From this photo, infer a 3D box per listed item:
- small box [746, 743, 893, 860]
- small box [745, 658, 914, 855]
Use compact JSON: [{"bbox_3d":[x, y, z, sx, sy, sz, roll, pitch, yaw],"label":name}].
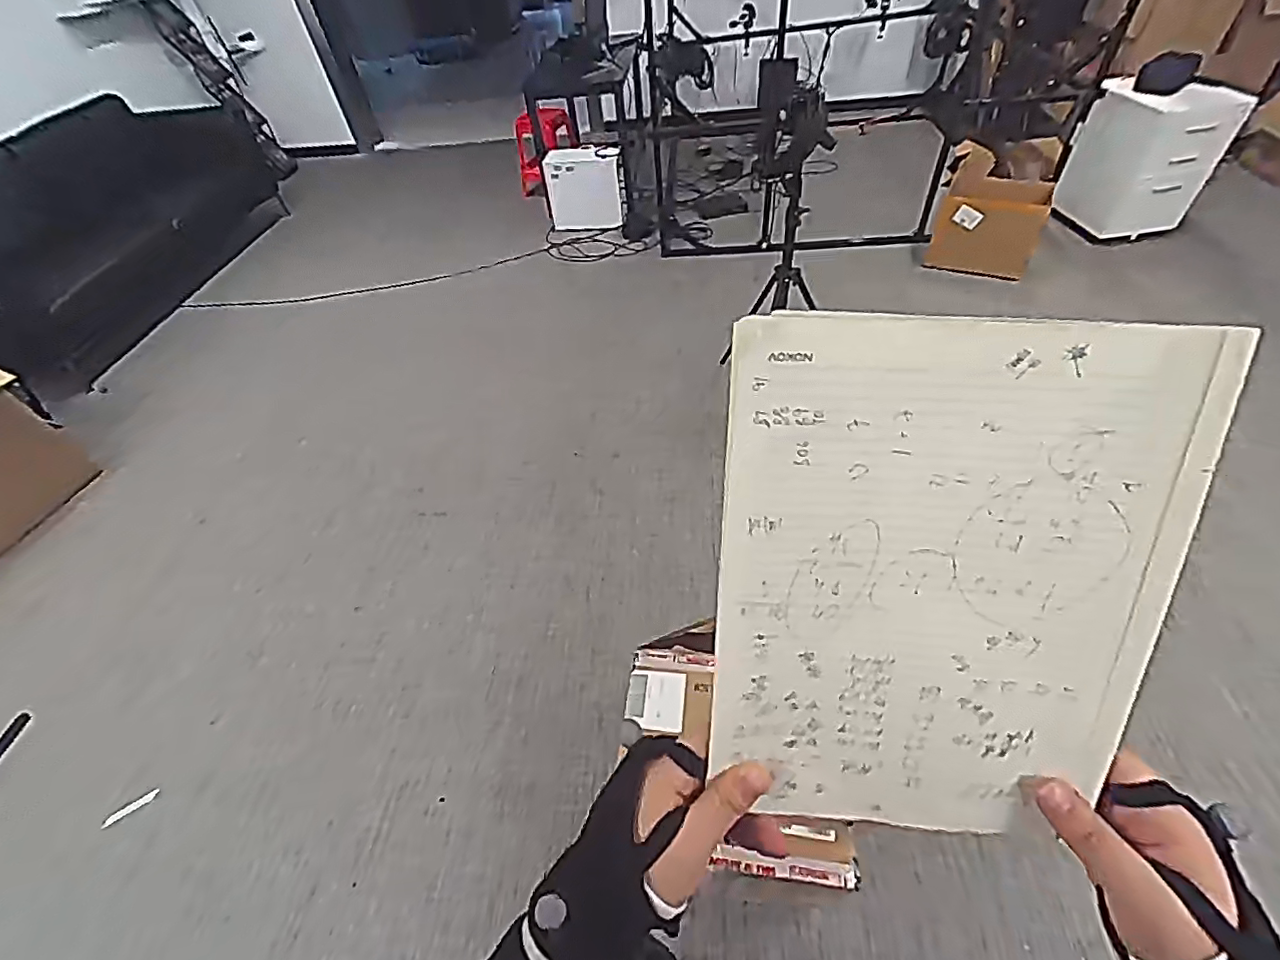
[{"bbox_3d":[0.259,0.463,0.823,0.179,0.176,0.168,3,50,7],"label":"small box"},{"bbox_3d":[0.231,0.358,0.698,0.168,0.176,0.179,7,52,9],"label":"small box"}]
